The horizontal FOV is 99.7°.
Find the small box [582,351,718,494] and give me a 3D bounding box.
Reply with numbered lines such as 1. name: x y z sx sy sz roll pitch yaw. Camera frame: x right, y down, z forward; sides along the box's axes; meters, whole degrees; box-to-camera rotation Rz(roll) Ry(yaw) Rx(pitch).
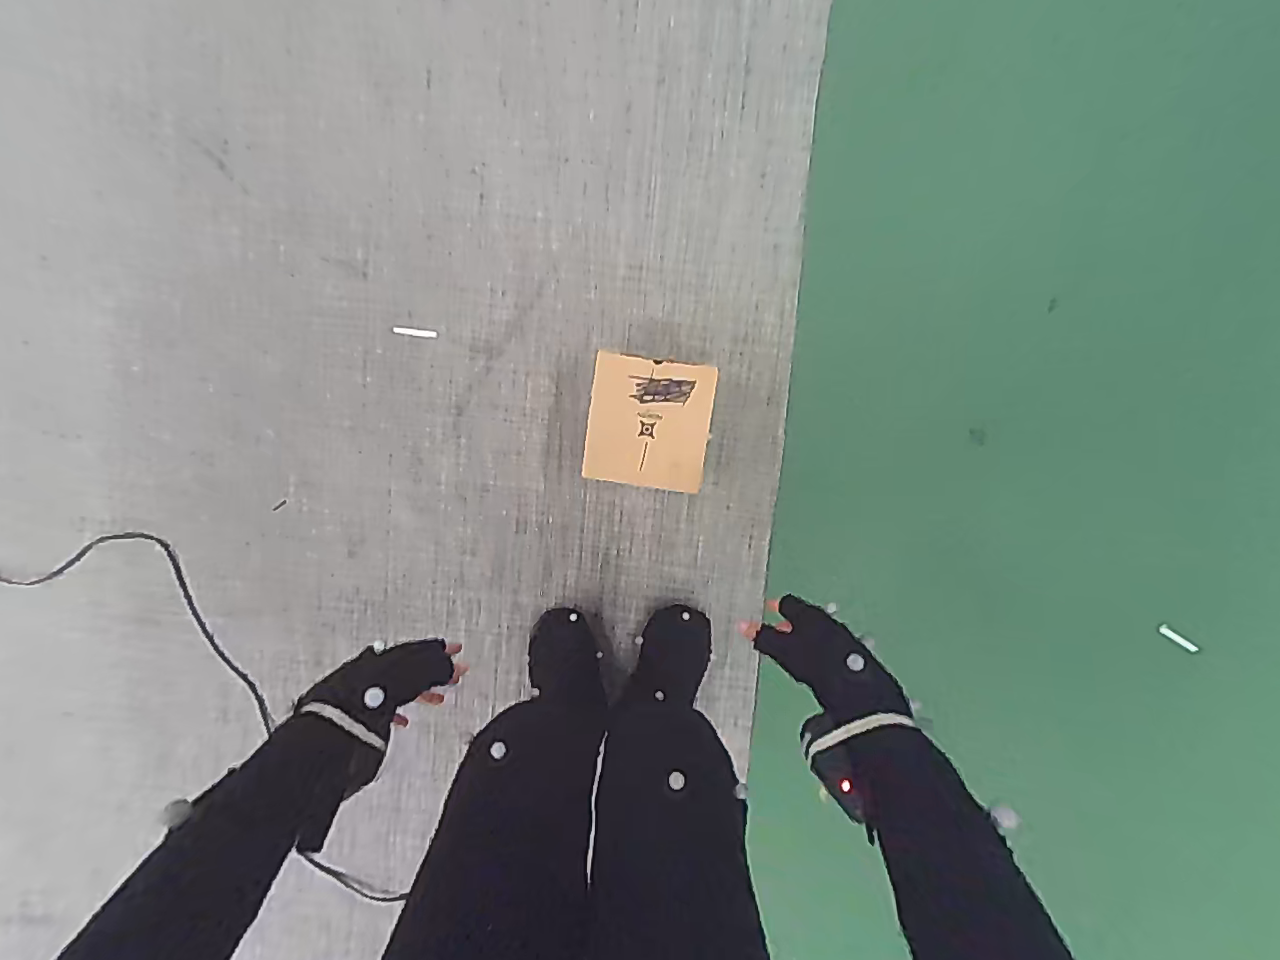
1. small box: 0.014 -0.086 0.815 0.168 0.176 0.179 8 97 1
